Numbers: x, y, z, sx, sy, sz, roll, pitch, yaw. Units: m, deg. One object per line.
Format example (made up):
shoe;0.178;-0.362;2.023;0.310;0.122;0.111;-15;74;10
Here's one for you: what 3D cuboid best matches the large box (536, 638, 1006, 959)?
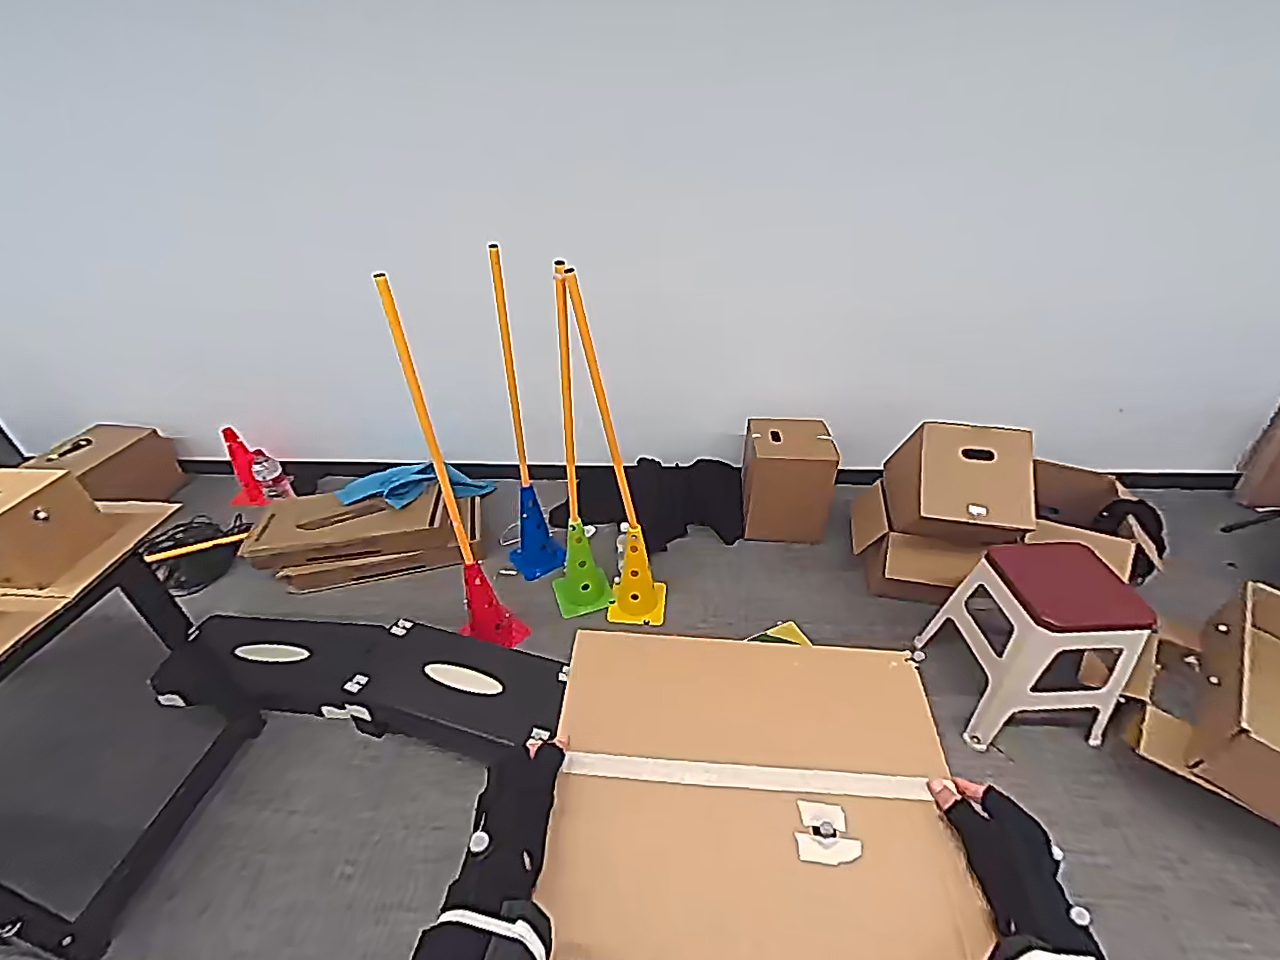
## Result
large box;0.115;0.418;0.657;0.408;0.320;0.320;3;42;3
